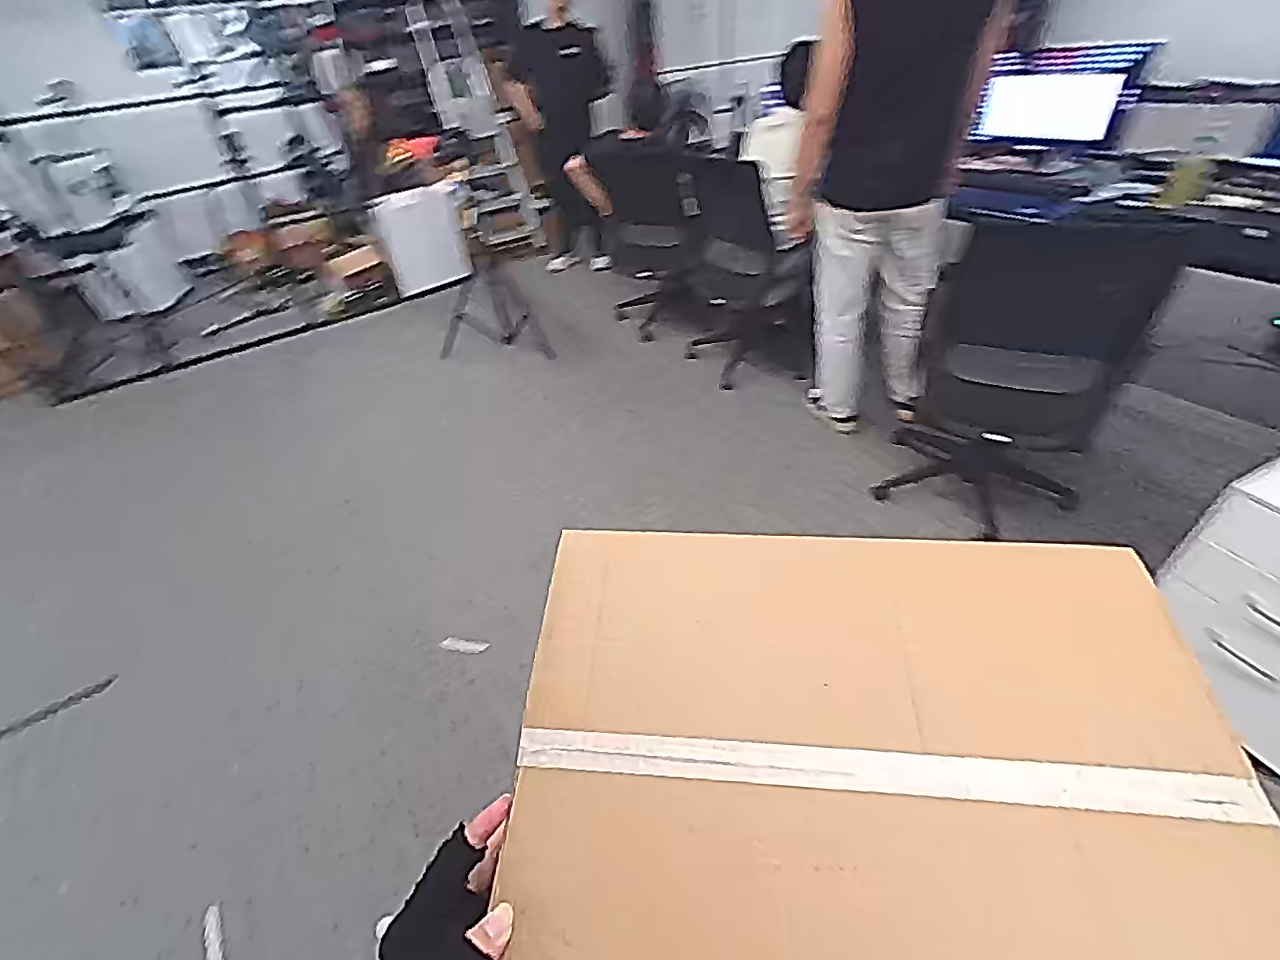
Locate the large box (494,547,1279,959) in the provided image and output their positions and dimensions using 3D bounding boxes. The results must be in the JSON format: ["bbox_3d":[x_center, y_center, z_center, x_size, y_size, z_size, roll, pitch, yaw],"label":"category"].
[{"bbox_3d":[0.135,0.263,0.439,0.408,0.320,0.320,0,54,6],"label":"large box"}]
